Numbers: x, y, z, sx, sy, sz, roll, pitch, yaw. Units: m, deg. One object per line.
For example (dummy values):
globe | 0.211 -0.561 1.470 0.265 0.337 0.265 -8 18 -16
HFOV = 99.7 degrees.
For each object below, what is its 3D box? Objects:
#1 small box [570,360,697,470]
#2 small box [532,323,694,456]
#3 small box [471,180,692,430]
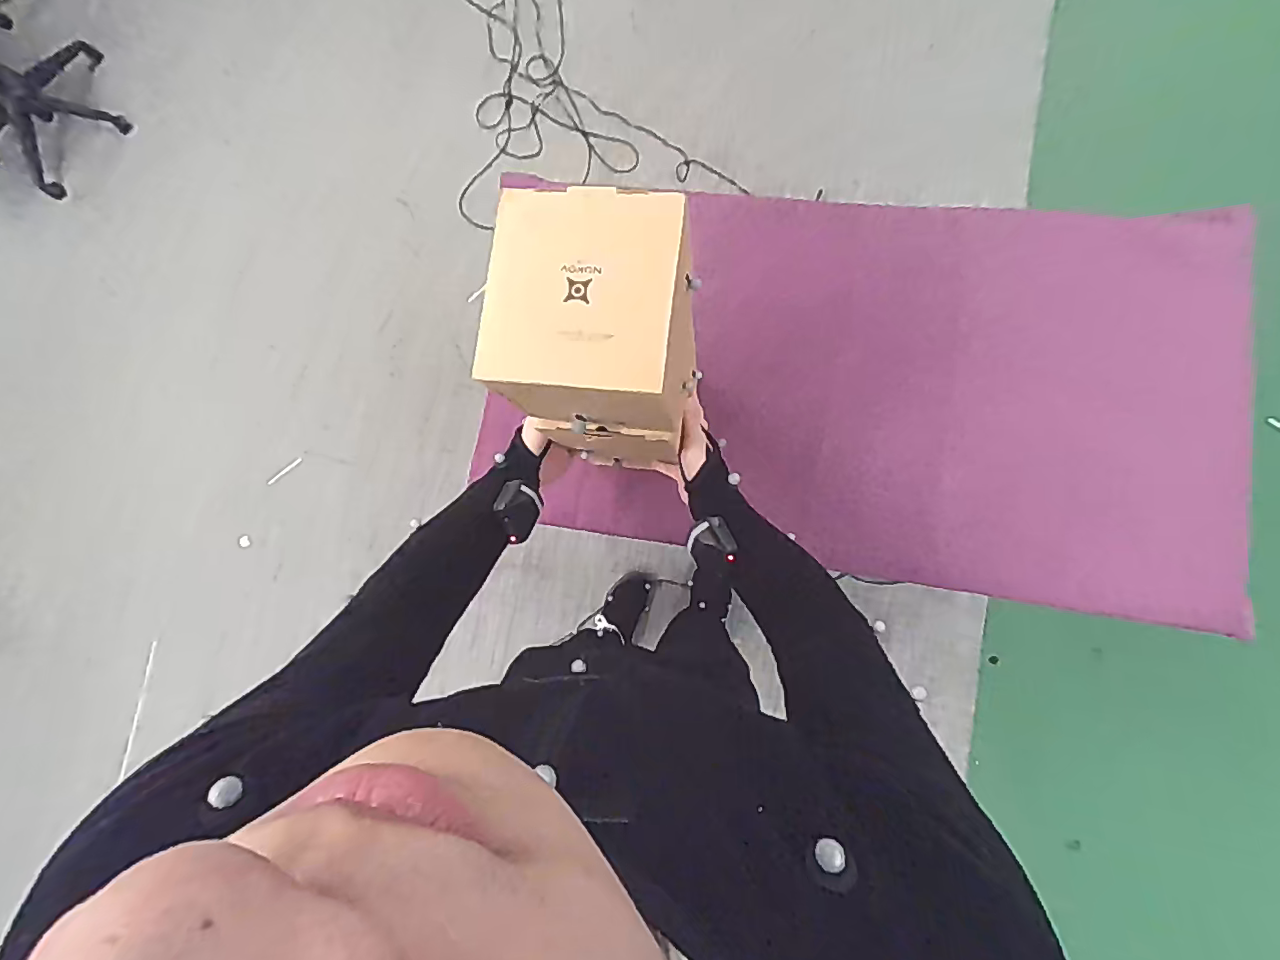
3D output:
small box | -0.001 -0.115 0.850 0.168 0.176 0.179 6 84 8
small box | -0.023 -0.131 0.688 0.168 0.176 0.179 6 83 8
small box | -0.041 -0.157 0.528 0.168 0.176 0.179 7 85 9
